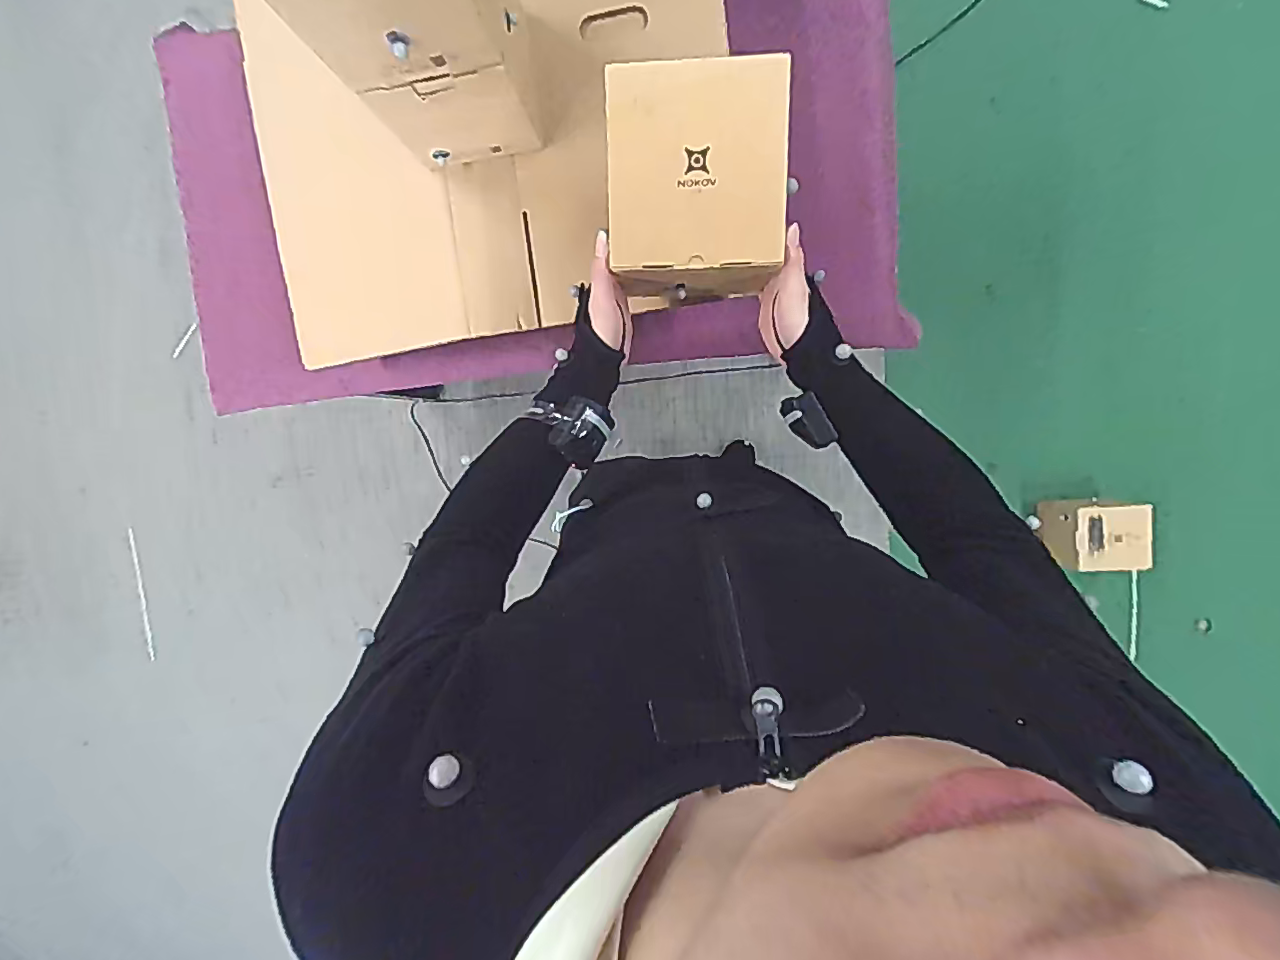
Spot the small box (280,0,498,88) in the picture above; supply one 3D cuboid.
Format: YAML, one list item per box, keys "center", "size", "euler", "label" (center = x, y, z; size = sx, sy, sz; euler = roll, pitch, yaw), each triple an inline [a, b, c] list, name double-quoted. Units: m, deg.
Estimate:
- center: [-0.237, -0.491, 0.467]
  size: [0.168, 0.176, 0.179]
  euler: [-7, 95, 5]
  label: "small box"

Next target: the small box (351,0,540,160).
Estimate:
- center: [-0.224, -0.503, 0.630]
  size: [0.168, 0.176, 0.179]
  euler: [-8, 94, 5]
  label: "small box"

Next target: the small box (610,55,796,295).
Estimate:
- center: [0.059, -0.297, 0.564]
  size: [0.168, 0.176, 0.179]
  euler: [-1, 102, 4]
  label: "small box"
